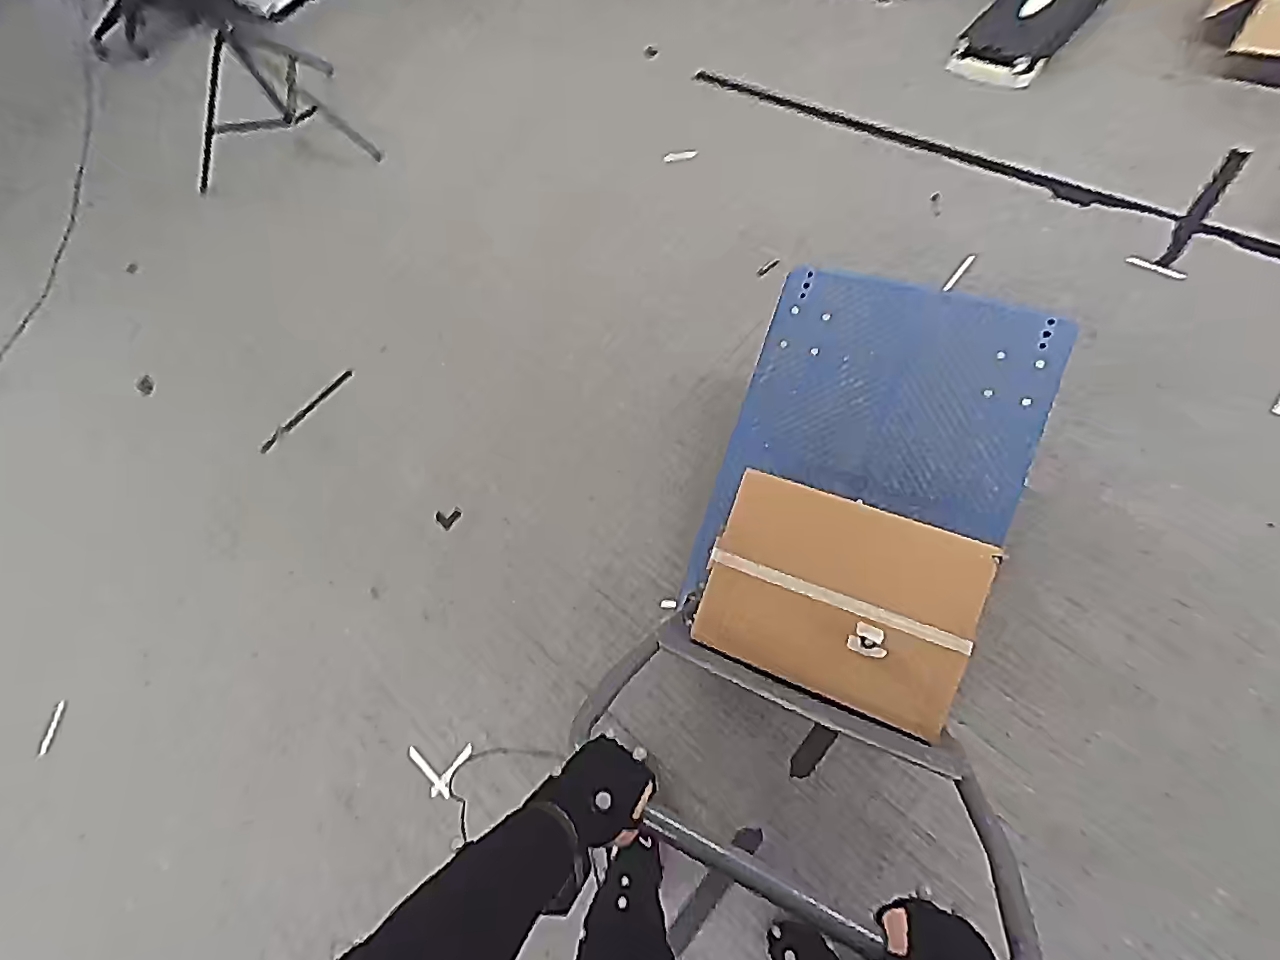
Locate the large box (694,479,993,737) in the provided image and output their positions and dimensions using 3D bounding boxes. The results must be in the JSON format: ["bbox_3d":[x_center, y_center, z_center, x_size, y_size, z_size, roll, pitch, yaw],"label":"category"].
[{"bbox_3d":[0.358,0.210,1.029,0.408,0.320,0.320,18,91,17],"label":"large box"}]
